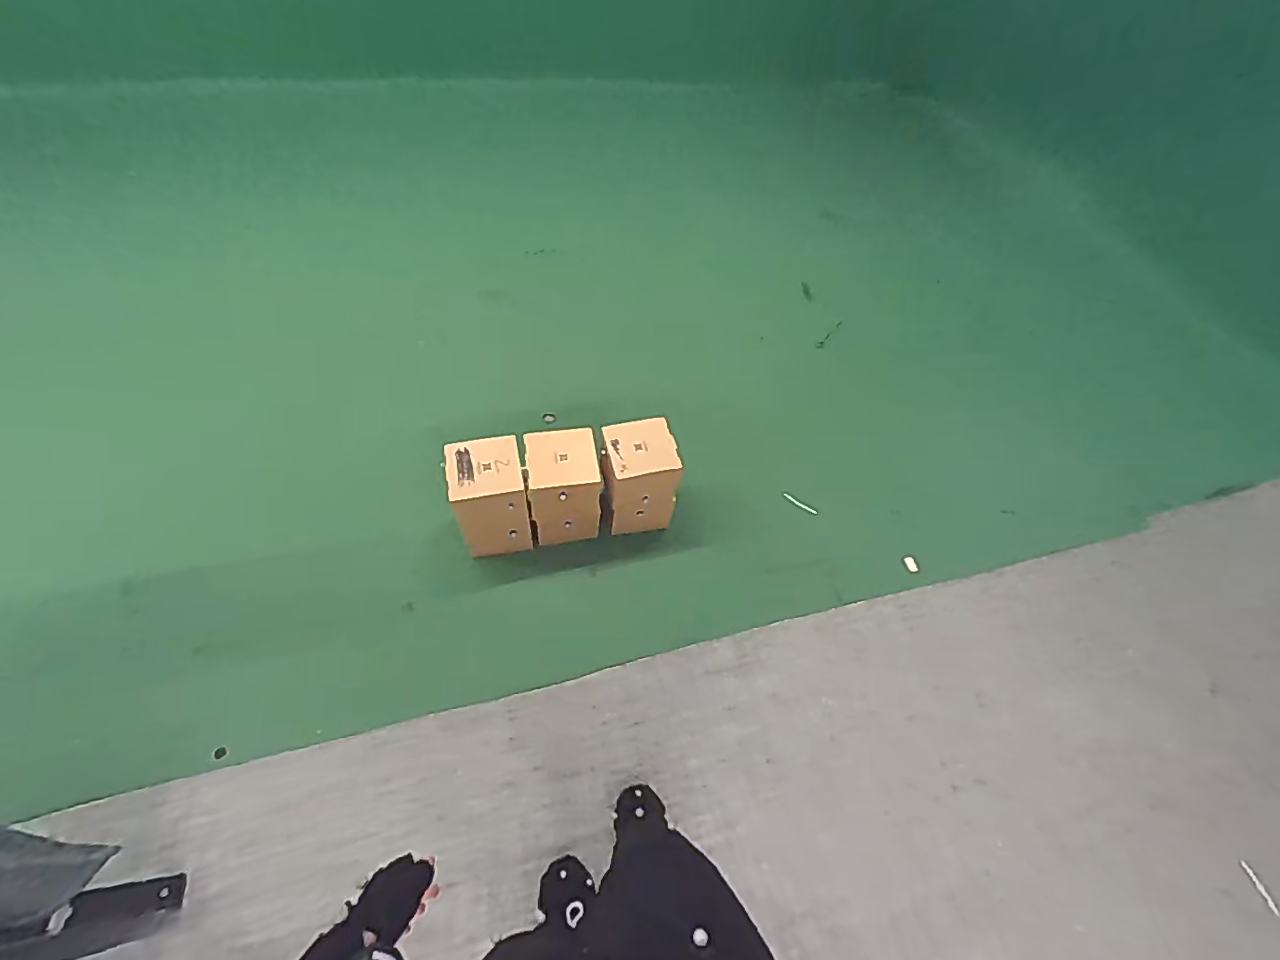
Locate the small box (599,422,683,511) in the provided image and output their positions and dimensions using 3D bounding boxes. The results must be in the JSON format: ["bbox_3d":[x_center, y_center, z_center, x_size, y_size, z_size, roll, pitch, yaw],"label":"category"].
[{"bbox_3d":[-0.005,-0.034,1.450,0.179,0.176,0.168,-9,60,-14],"label":"small box"}]
